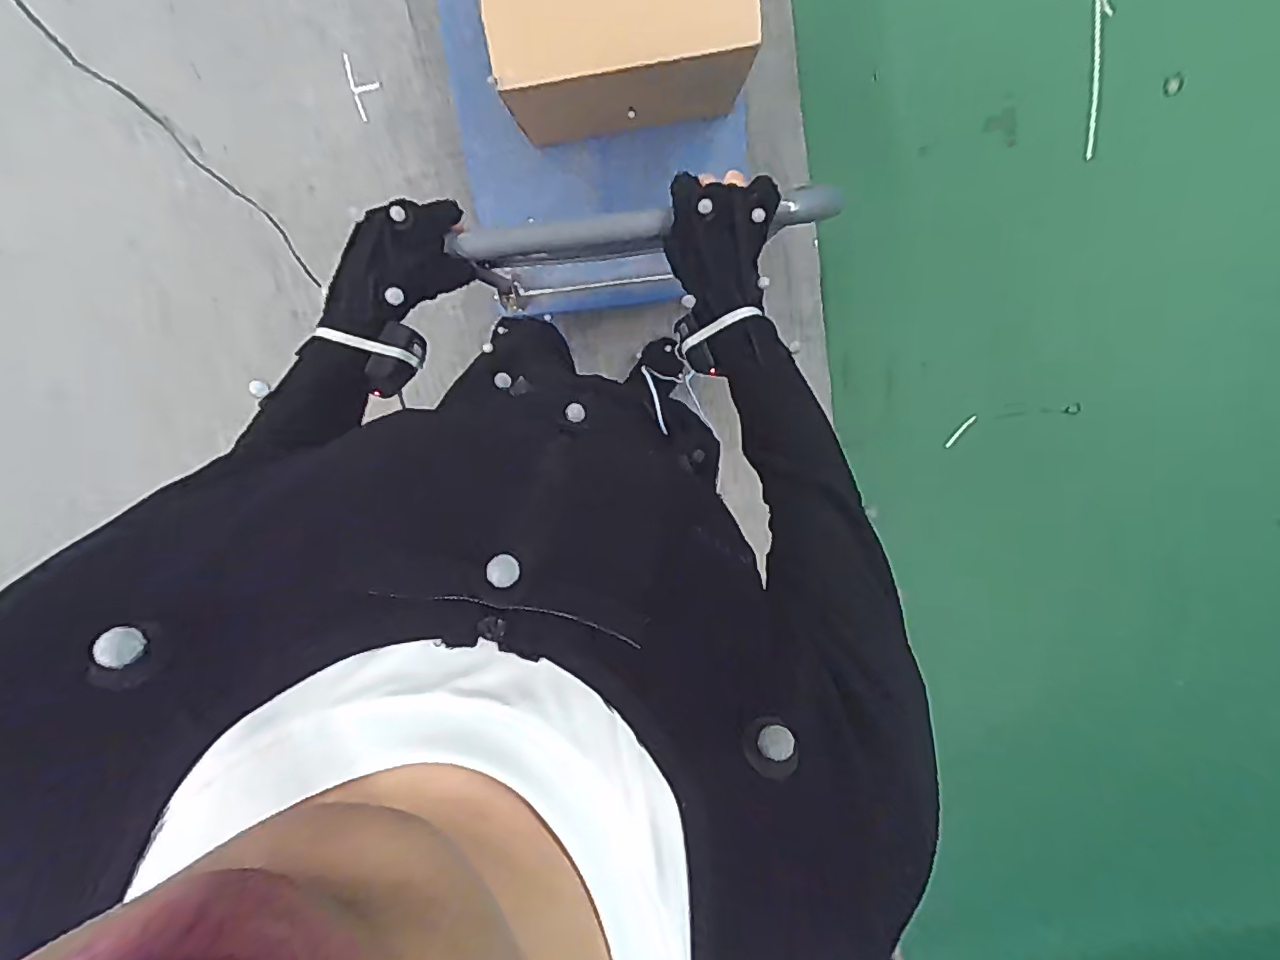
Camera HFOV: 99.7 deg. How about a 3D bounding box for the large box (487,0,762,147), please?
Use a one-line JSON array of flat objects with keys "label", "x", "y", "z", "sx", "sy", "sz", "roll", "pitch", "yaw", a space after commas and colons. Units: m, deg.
[{"label": "large box", "x": -0.033, "y": -0.811, "z": 0.921, "sx": 0.408, "sy": 0.320, "sz": 0.320, "roll": -9, "pitch": 107, "yaw": 4}]
